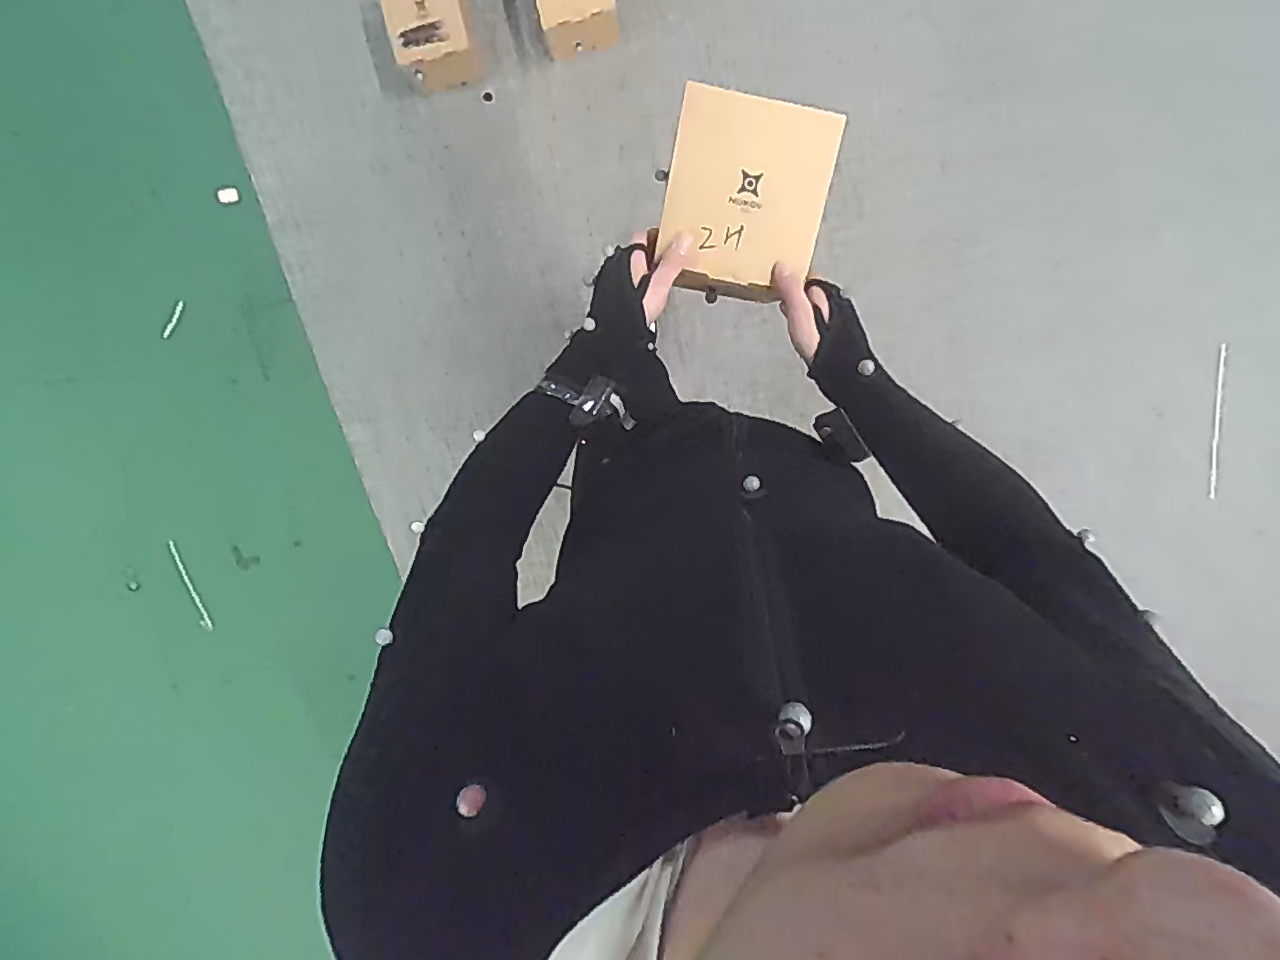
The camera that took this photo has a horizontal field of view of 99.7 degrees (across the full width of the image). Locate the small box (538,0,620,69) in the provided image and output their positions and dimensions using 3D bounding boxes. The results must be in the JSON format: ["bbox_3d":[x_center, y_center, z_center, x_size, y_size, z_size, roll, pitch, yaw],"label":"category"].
[{"bbox_3d":[-0.145,-1.088,1.229,0.168,0.176,0.179,-13,106,4],"label":"small box"}]

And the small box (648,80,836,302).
[{"bbox_3d":[0.103,-0.319,0.636,0.168,0.176,0.179,11,104,-2],"label":"small box"}]
